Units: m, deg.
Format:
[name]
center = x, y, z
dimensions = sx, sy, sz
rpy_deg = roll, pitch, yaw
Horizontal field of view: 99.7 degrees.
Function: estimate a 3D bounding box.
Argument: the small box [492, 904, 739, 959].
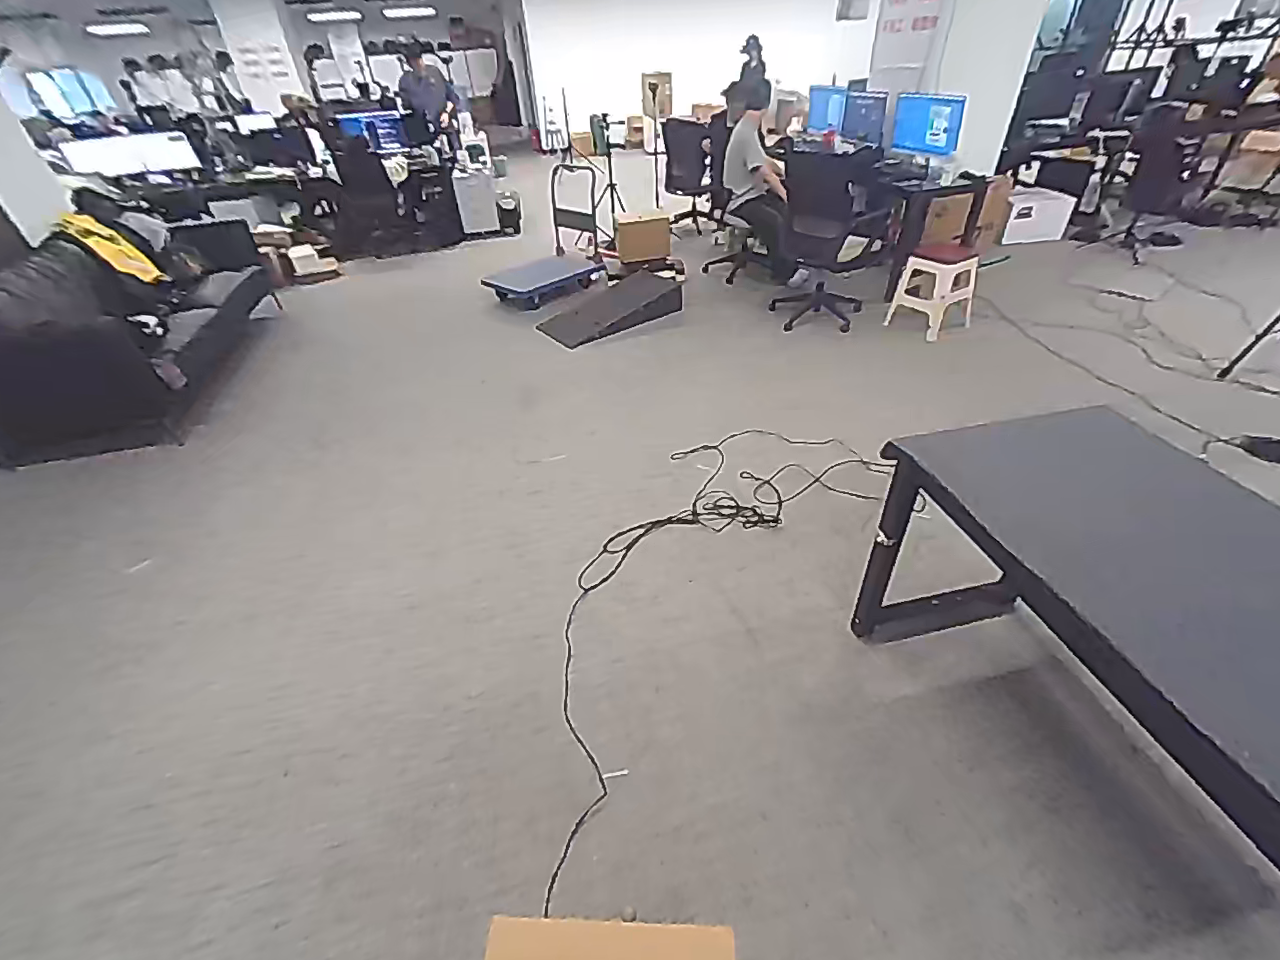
[small box]
center = -0.017, 0.414, 0.371
dimensions = 0.168, 0.176, 0.179
rpy_deg = 0, 48, 4
